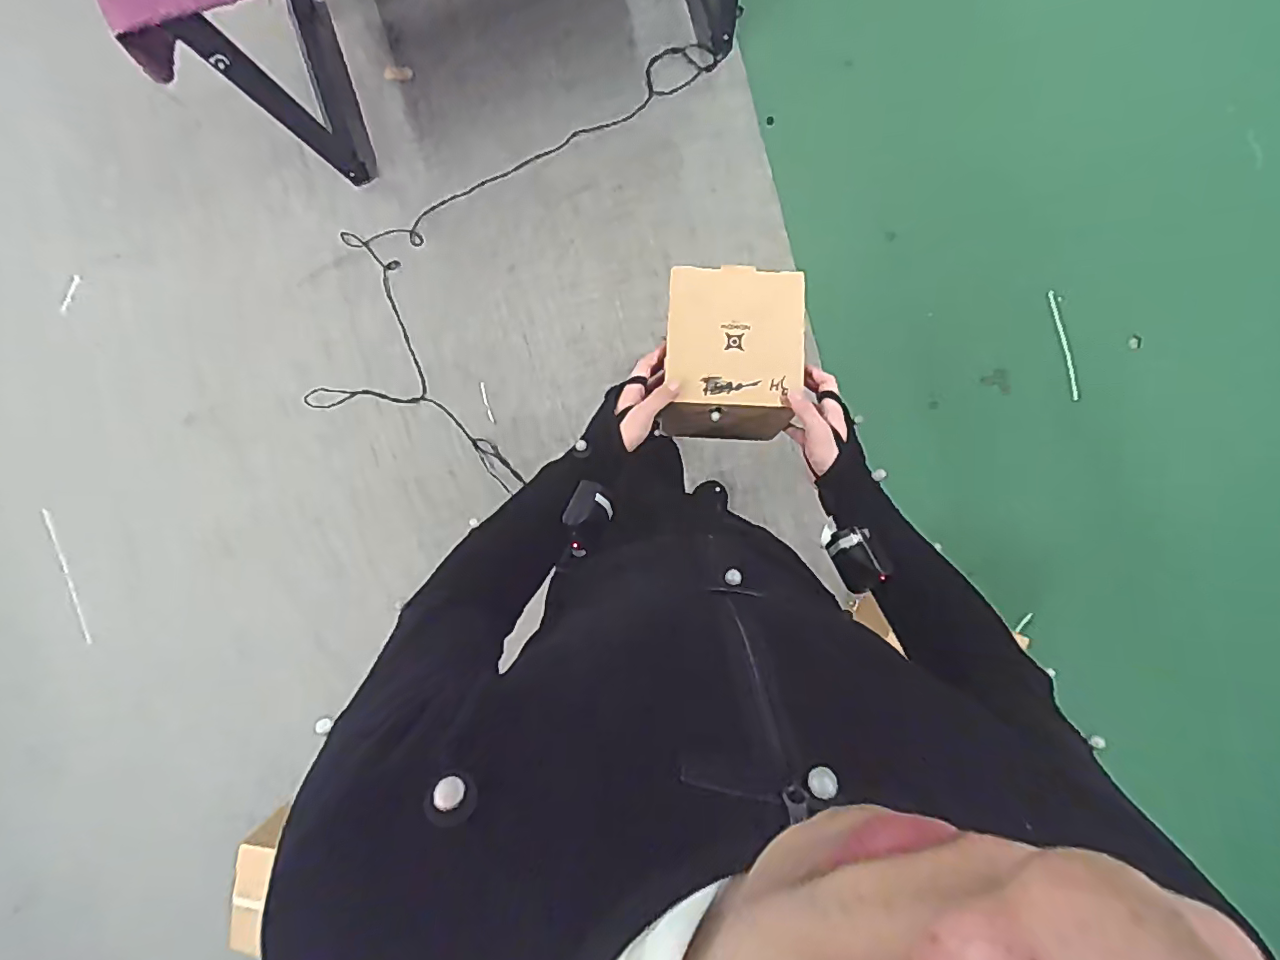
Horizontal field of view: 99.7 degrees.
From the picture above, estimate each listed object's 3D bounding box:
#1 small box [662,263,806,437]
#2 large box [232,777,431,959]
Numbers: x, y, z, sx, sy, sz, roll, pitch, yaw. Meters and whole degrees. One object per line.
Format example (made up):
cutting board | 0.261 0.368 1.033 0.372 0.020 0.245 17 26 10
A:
small box | 0.116 -0.164 0.725 0.168 0.176 0.179 3 83 2
large box | -0.893 1.136 1.603 0.408 0.320 0.320 8 94 2
